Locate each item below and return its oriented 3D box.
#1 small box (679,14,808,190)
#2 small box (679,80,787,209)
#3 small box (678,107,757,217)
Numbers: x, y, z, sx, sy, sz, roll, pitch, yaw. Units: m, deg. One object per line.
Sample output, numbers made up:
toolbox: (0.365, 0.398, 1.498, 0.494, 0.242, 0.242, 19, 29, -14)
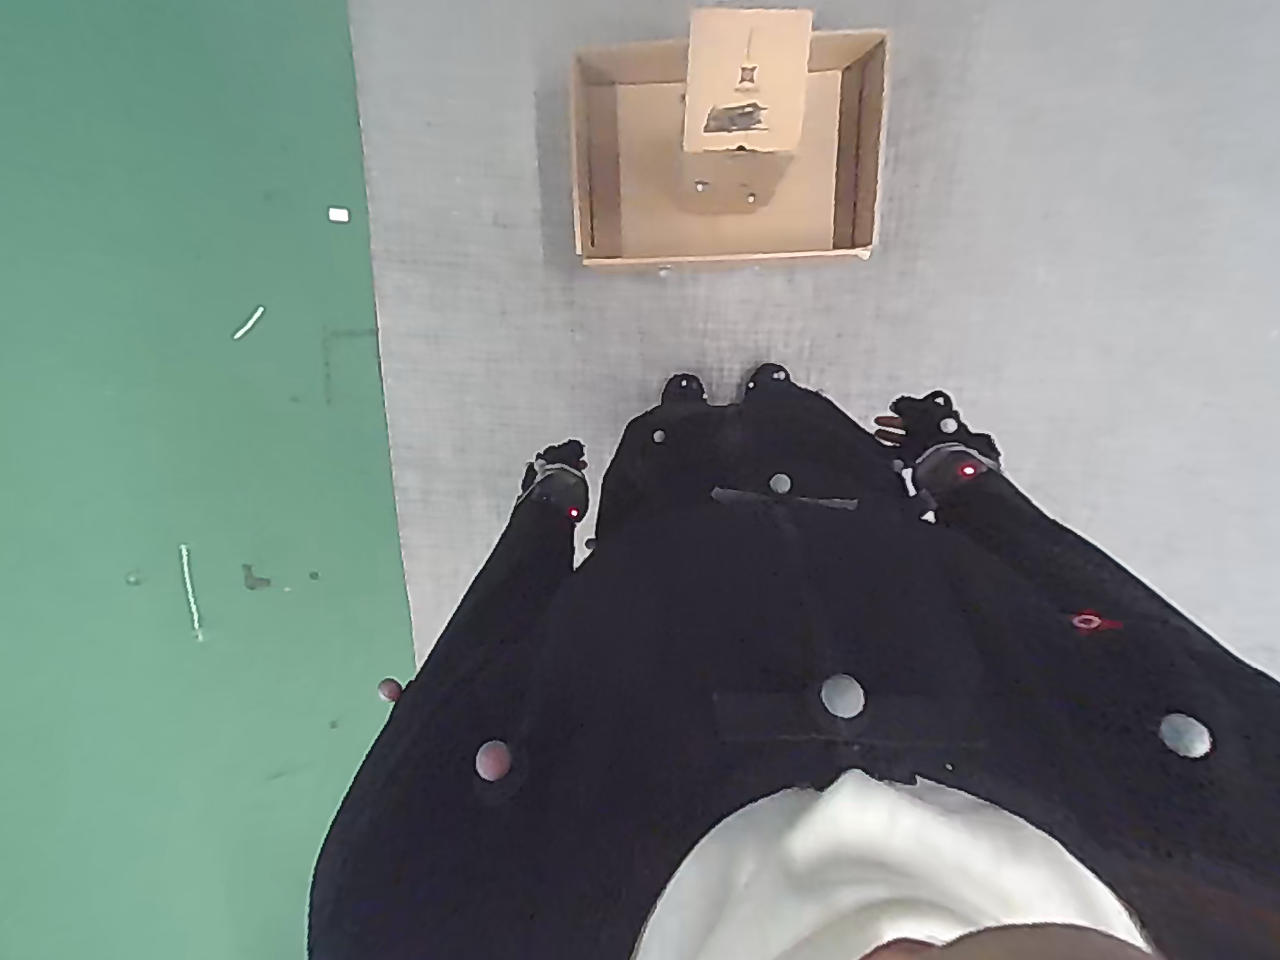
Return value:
small box: (0.148, -0.563, 0.829, 0.168, 0.176, 0.179, 3, 102, 3)
small box: (0.161, -0.599, 0.973, 0.179, 0.176, 0.168, -1, 103, 4)
small box: (0.170, -0.667, 1.142, 0.179, 0.176, 0.168, -2, 102, 4)
